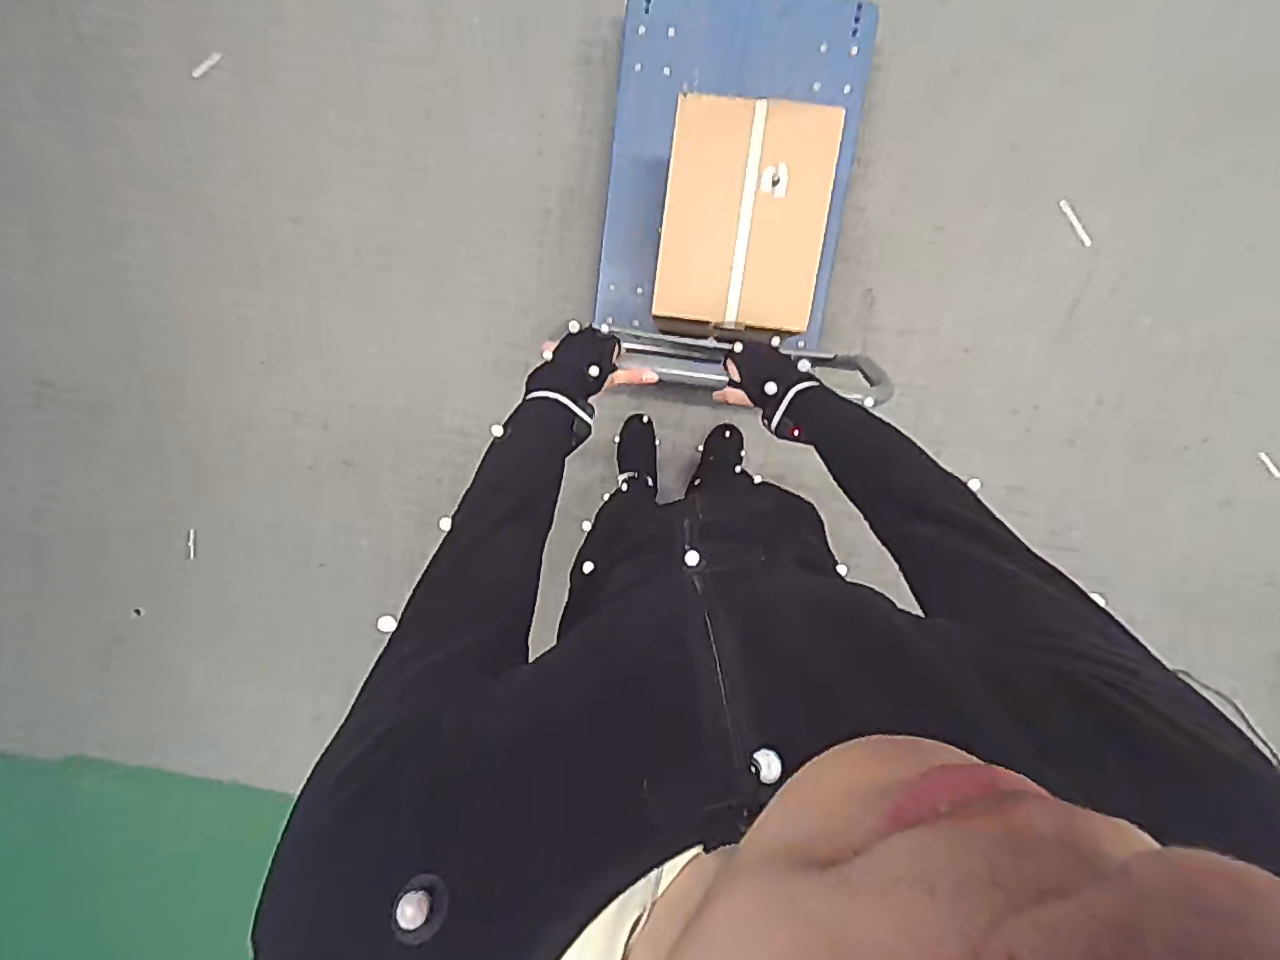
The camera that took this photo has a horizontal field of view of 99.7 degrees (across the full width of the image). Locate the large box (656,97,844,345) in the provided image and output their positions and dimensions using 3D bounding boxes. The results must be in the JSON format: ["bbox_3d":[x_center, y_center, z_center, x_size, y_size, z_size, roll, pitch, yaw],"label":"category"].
[{"bbox_3d":[0.215,-0.523,1.175,0.320,0.320,0.408,8,100,2],"label":"large box"}]
